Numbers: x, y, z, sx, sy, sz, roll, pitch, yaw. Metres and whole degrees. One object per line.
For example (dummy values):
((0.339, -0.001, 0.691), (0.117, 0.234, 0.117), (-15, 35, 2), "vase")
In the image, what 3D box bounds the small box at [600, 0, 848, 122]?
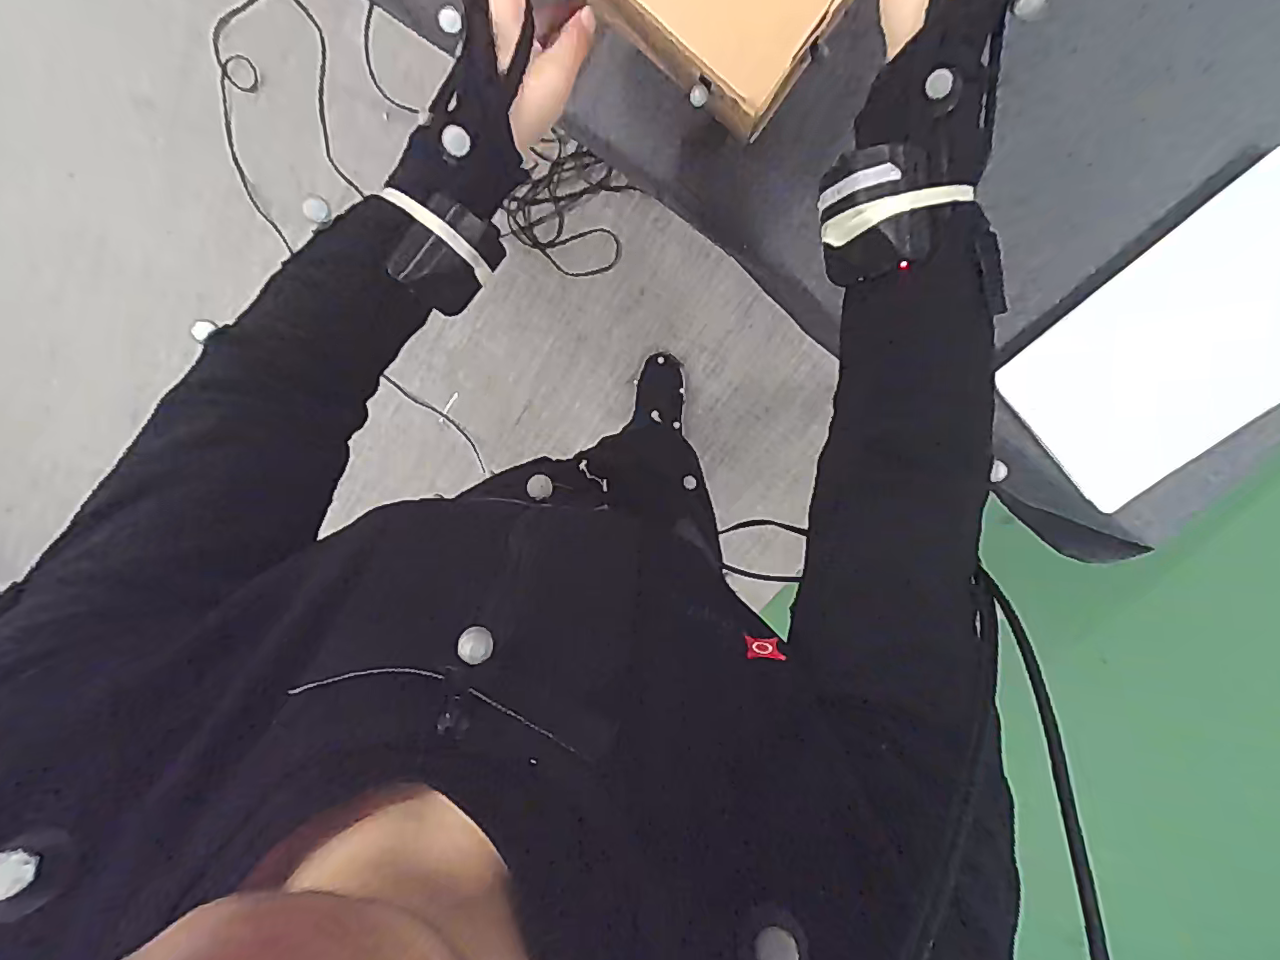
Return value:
((0.063, -0.369, 0.350), (0.179, 0.176, 0.168), (35, 116, -10), "small box")
